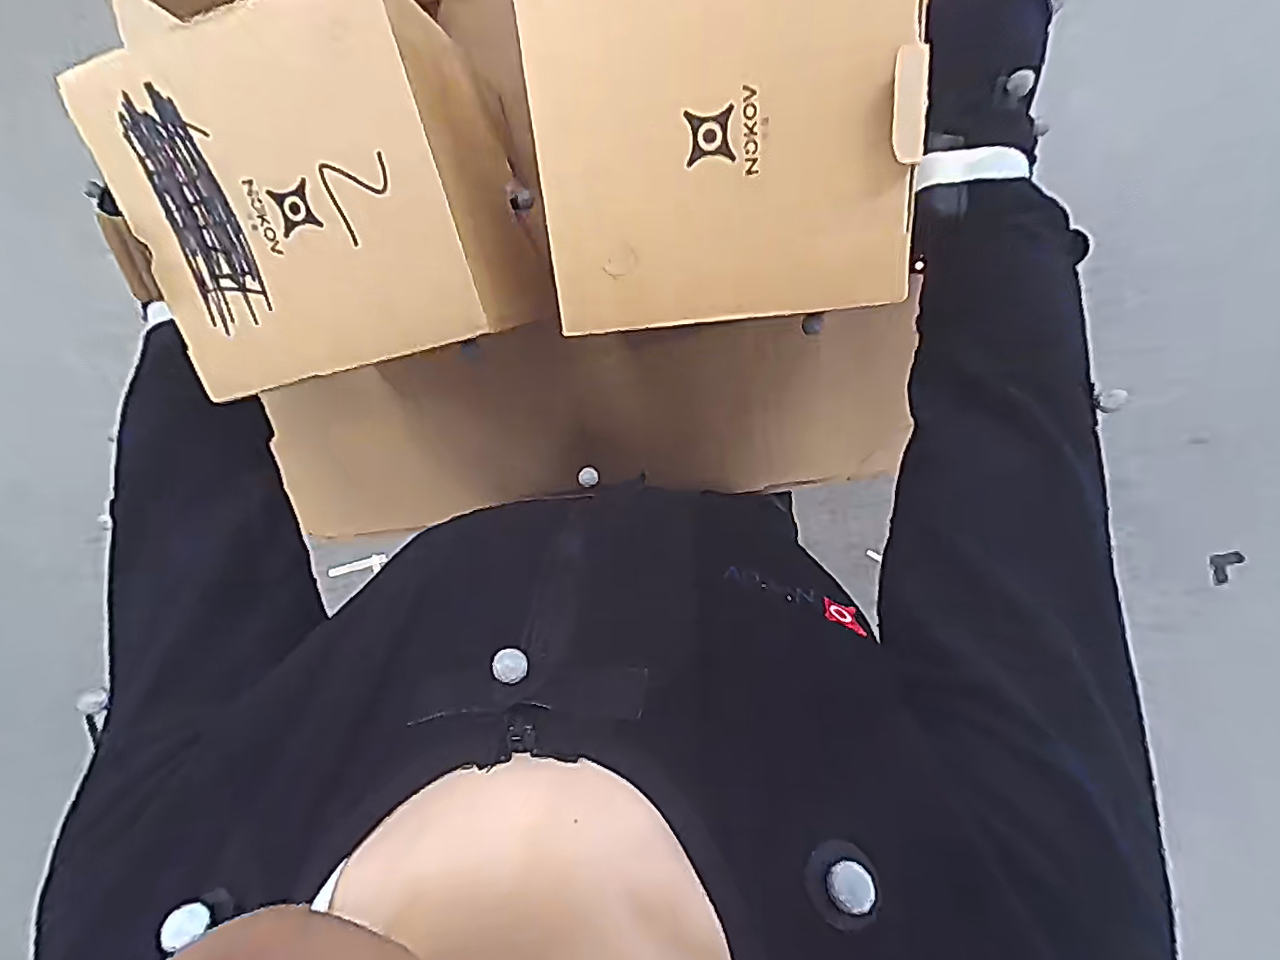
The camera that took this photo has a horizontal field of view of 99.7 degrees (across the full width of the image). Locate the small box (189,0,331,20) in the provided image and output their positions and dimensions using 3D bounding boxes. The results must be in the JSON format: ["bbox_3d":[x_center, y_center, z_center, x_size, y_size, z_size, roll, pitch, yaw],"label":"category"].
[{"bbox_3d":[-0.248,-0.401,0.295,0.168,0.176,0.179,-8,100,8],"label":"small box"}]
